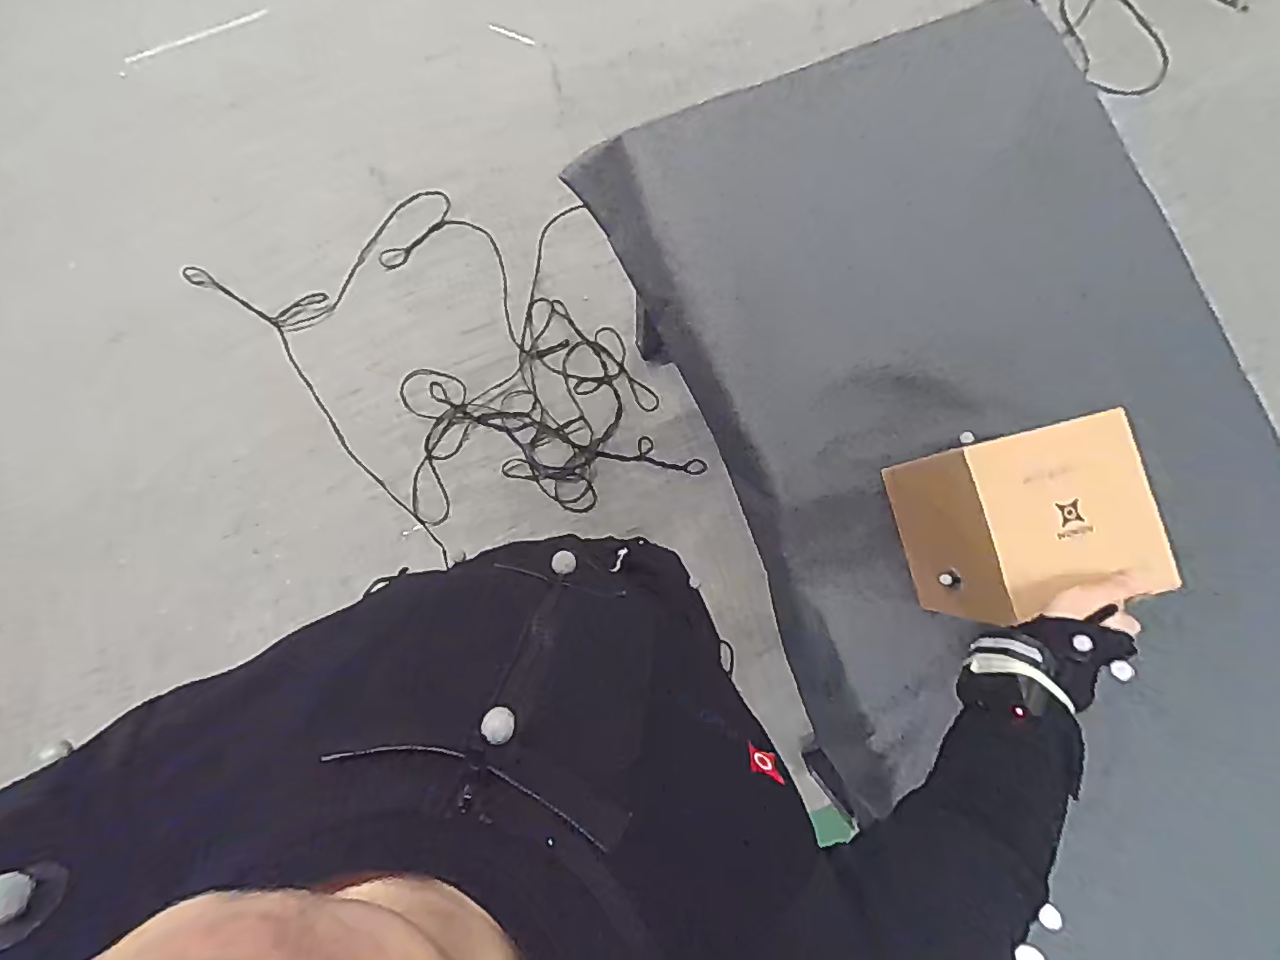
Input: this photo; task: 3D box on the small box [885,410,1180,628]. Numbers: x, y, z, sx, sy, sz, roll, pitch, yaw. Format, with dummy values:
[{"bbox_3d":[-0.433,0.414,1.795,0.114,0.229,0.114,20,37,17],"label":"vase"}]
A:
[{"bbox_3d":[0.399,0.043,0.584,0.168,0.176,0.179,-14,84,-4],"label":"small box"}]
